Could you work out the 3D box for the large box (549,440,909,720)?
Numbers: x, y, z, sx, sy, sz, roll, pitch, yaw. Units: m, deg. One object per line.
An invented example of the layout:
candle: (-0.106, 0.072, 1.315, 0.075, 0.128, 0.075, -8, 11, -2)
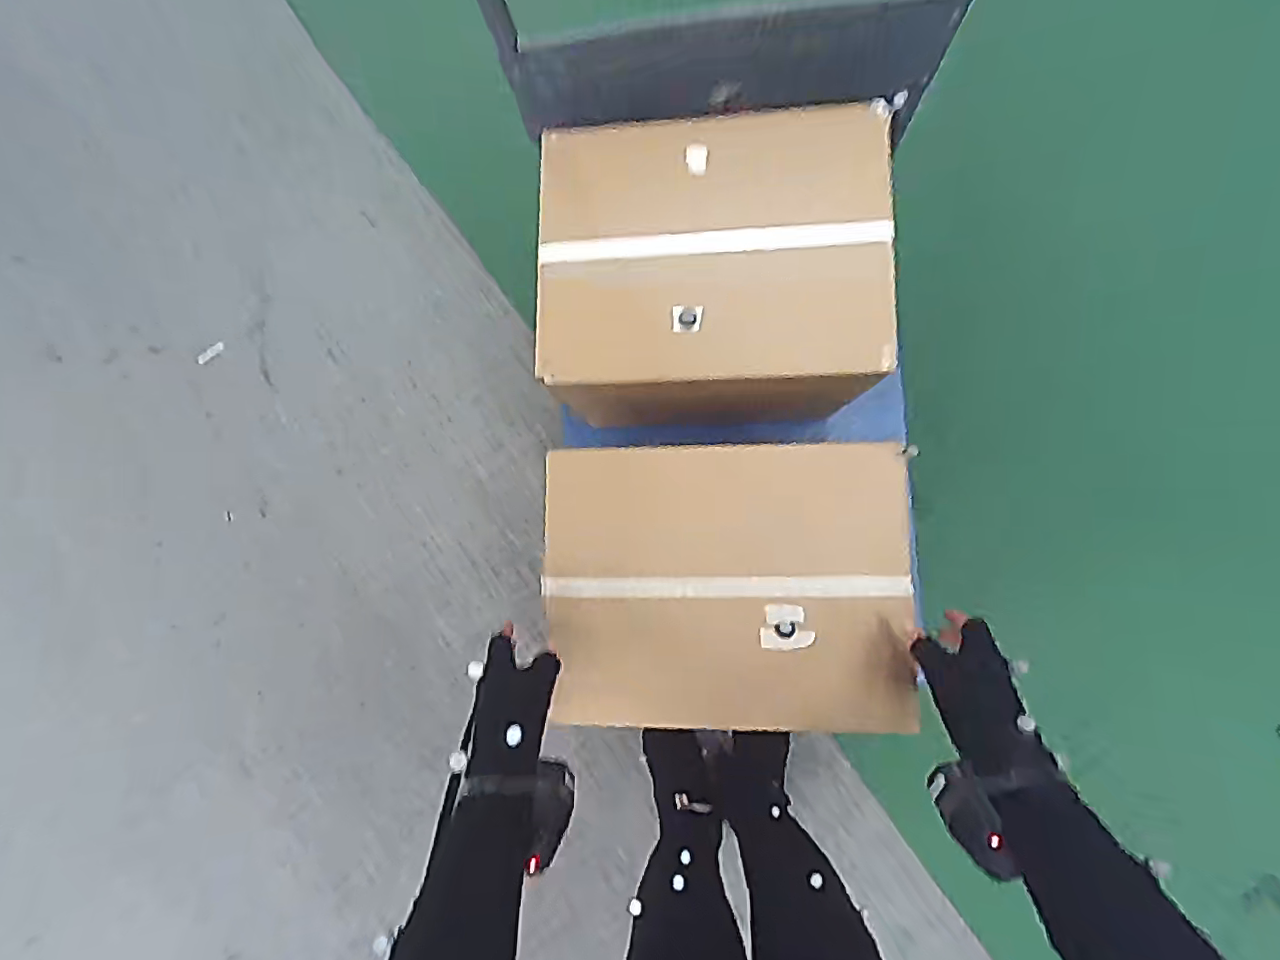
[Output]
large box: (0.102, 0.127, 0.761, 0.408, 0.320, 0.320, -1, 85, 5)
